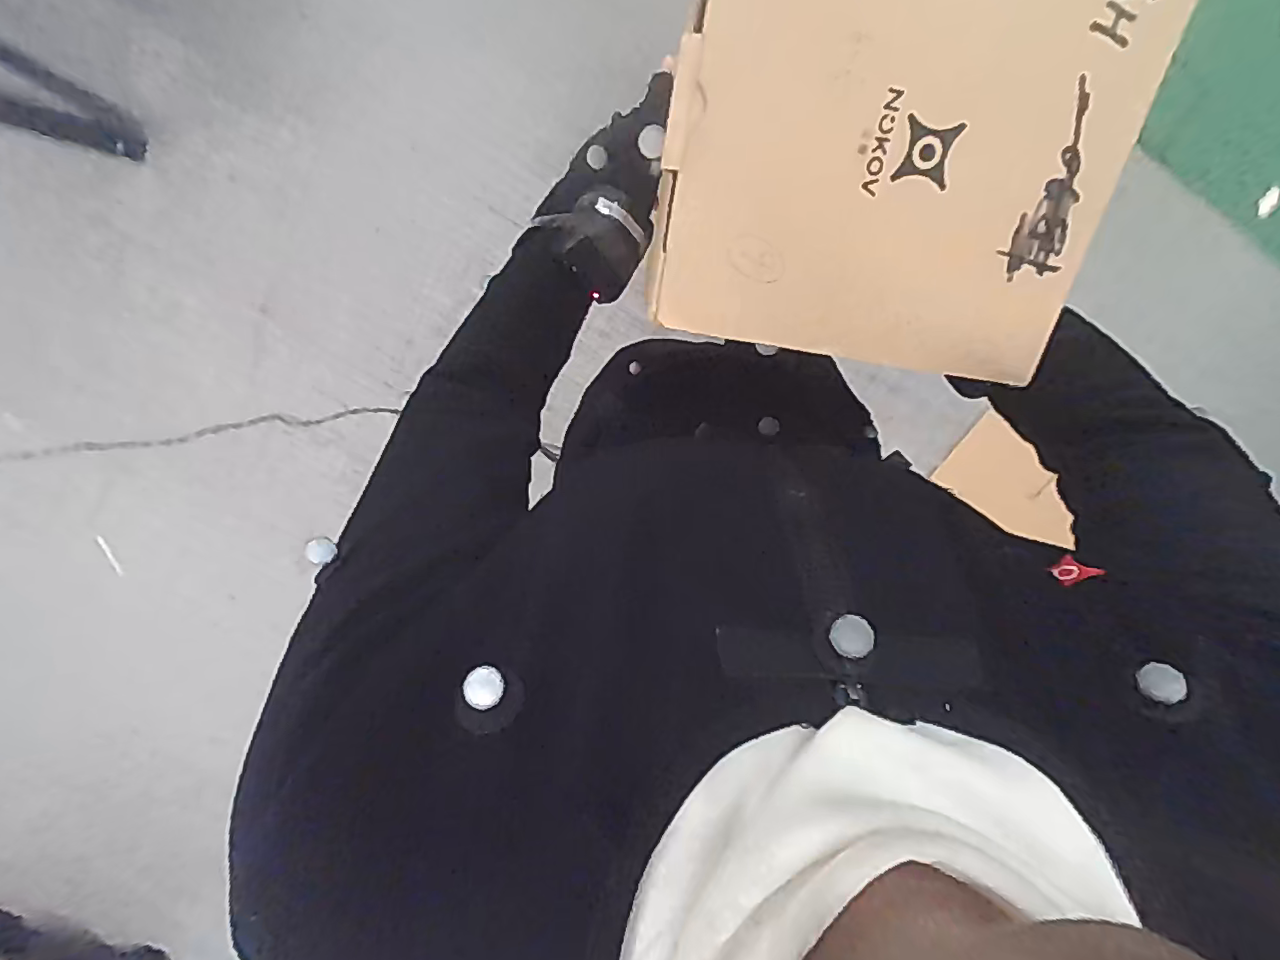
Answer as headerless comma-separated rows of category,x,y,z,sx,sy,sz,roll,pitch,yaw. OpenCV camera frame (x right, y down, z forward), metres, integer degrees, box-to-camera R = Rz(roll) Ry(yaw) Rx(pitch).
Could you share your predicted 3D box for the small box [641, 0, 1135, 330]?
small box,0.095,-0.177,0.287,0.179,0.176,0.168,5,110,-2
